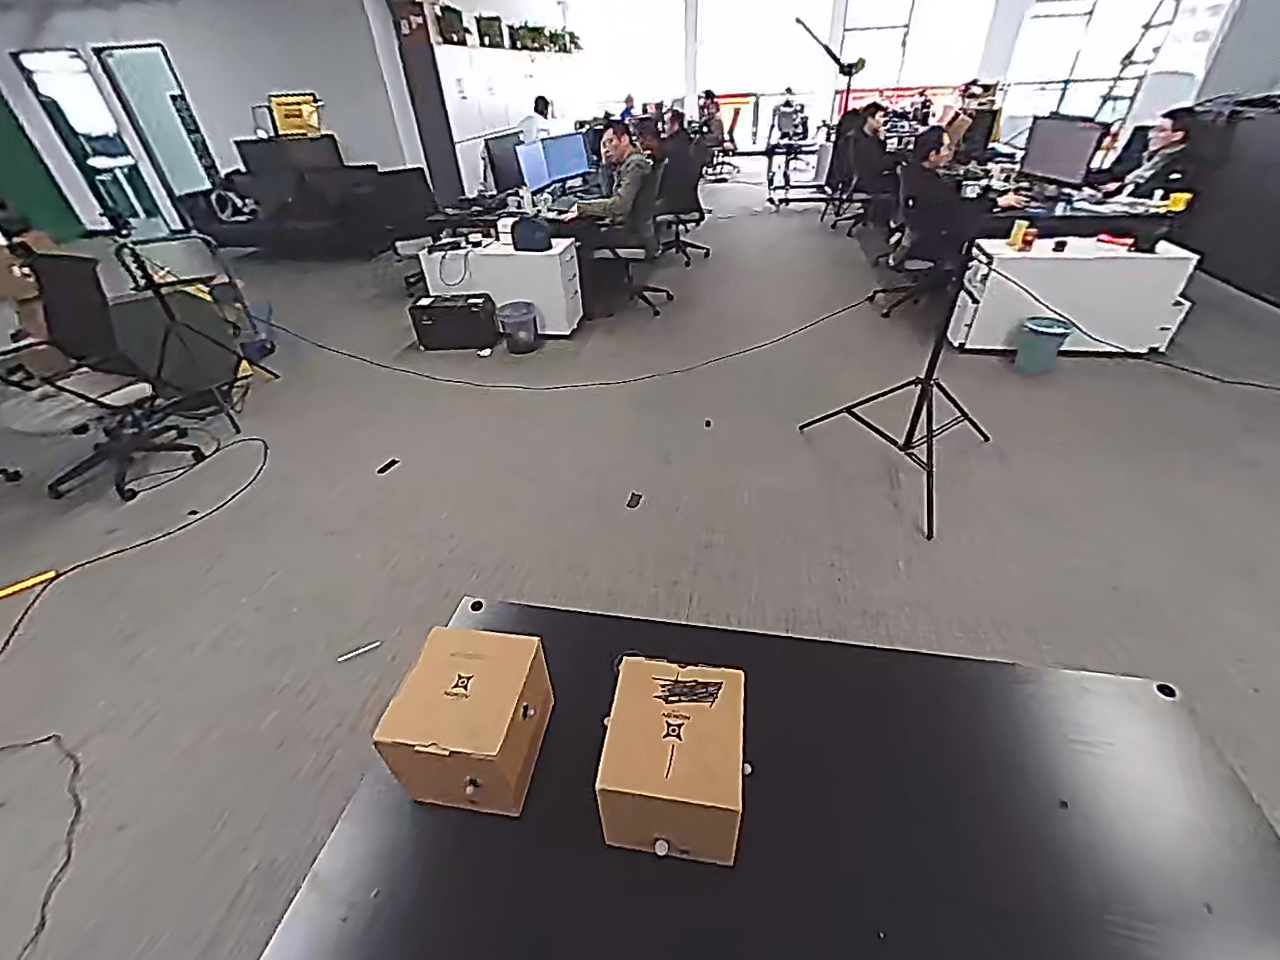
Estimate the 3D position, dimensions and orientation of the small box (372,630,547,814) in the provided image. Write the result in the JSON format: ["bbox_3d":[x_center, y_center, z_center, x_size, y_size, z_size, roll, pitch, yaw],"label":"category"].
[{"bbox_3d":[-0.238,0.343,0.770,0.168,0.176,0.179,4,36,7],"label":"small box"}]

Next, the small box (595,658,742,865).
[{"bbox_3d":[0.043,0.368,0.716,0.168,0.176,0.179,3,38,9],"label":"small box"}]
